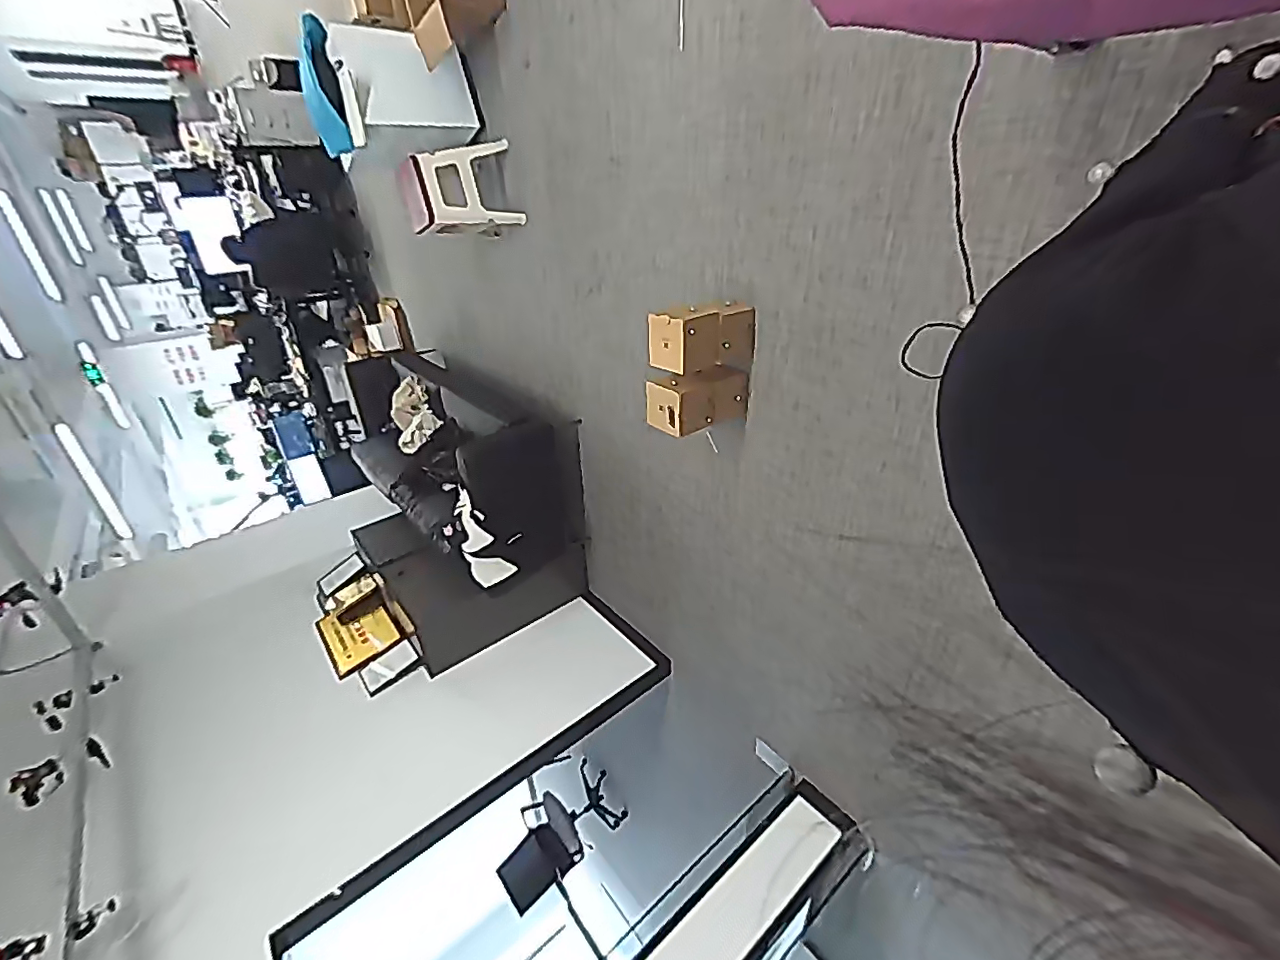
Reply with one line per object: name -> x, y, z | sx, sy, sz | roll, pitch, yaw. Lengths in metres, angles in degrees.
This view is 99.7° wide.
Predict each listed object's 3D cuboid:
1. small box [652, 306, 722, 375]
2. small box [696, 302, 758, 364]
small box -> 0.158, -0.467, 1.792 | 0.168, 0.176, 0.179 | 27, 130, 44
small box -> 0.286, -0.516, 1.880 | 0.179, 0.176, 0.168 | 29, 132, 44
